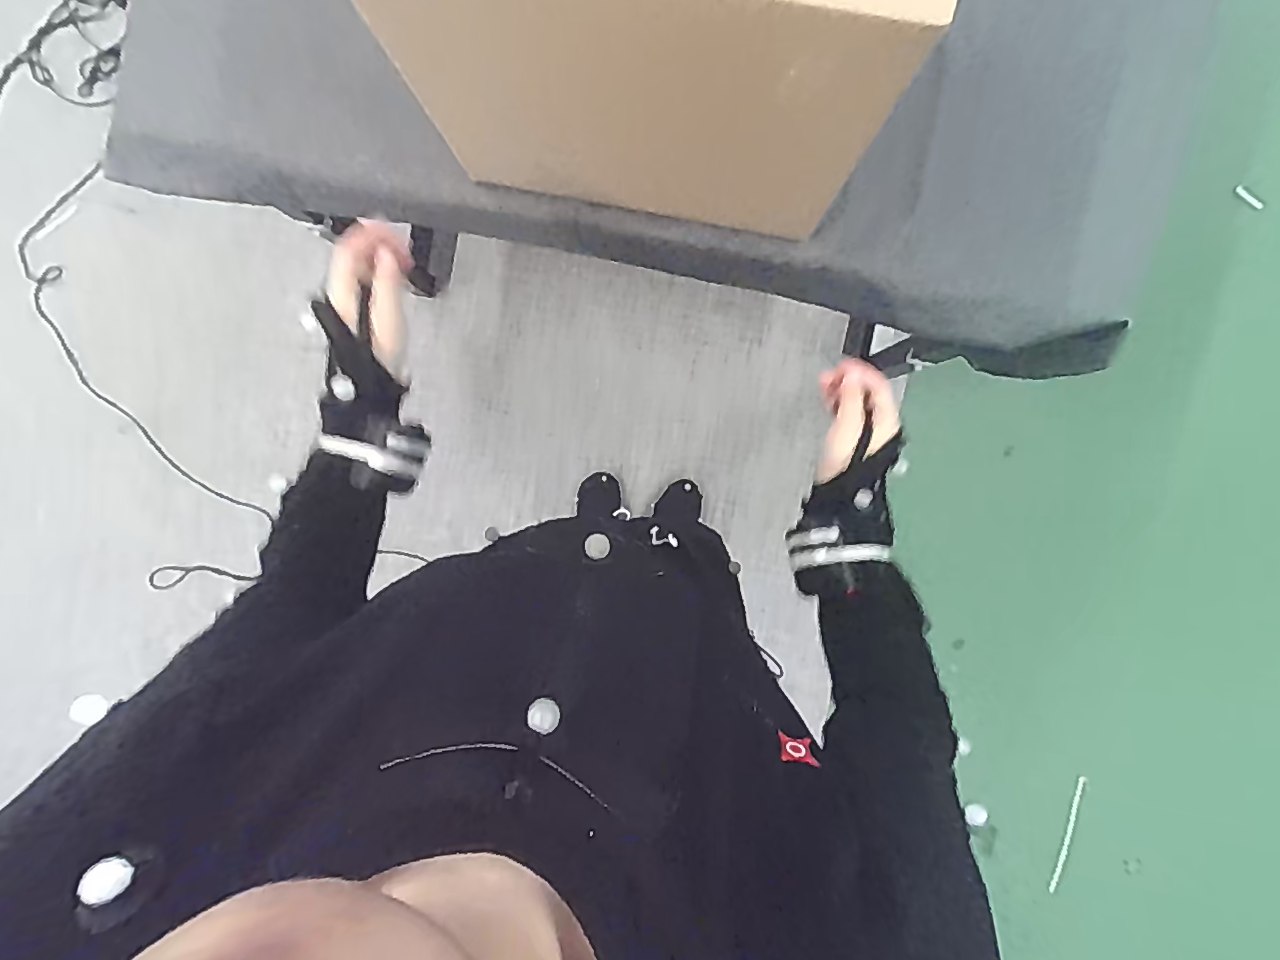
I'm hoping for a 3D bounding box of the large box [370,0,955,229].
[{"bbox_3d":[0.021,-0.464,0.475,0.408,0.320,0.320,10,92,1],"label":"large box"}]
